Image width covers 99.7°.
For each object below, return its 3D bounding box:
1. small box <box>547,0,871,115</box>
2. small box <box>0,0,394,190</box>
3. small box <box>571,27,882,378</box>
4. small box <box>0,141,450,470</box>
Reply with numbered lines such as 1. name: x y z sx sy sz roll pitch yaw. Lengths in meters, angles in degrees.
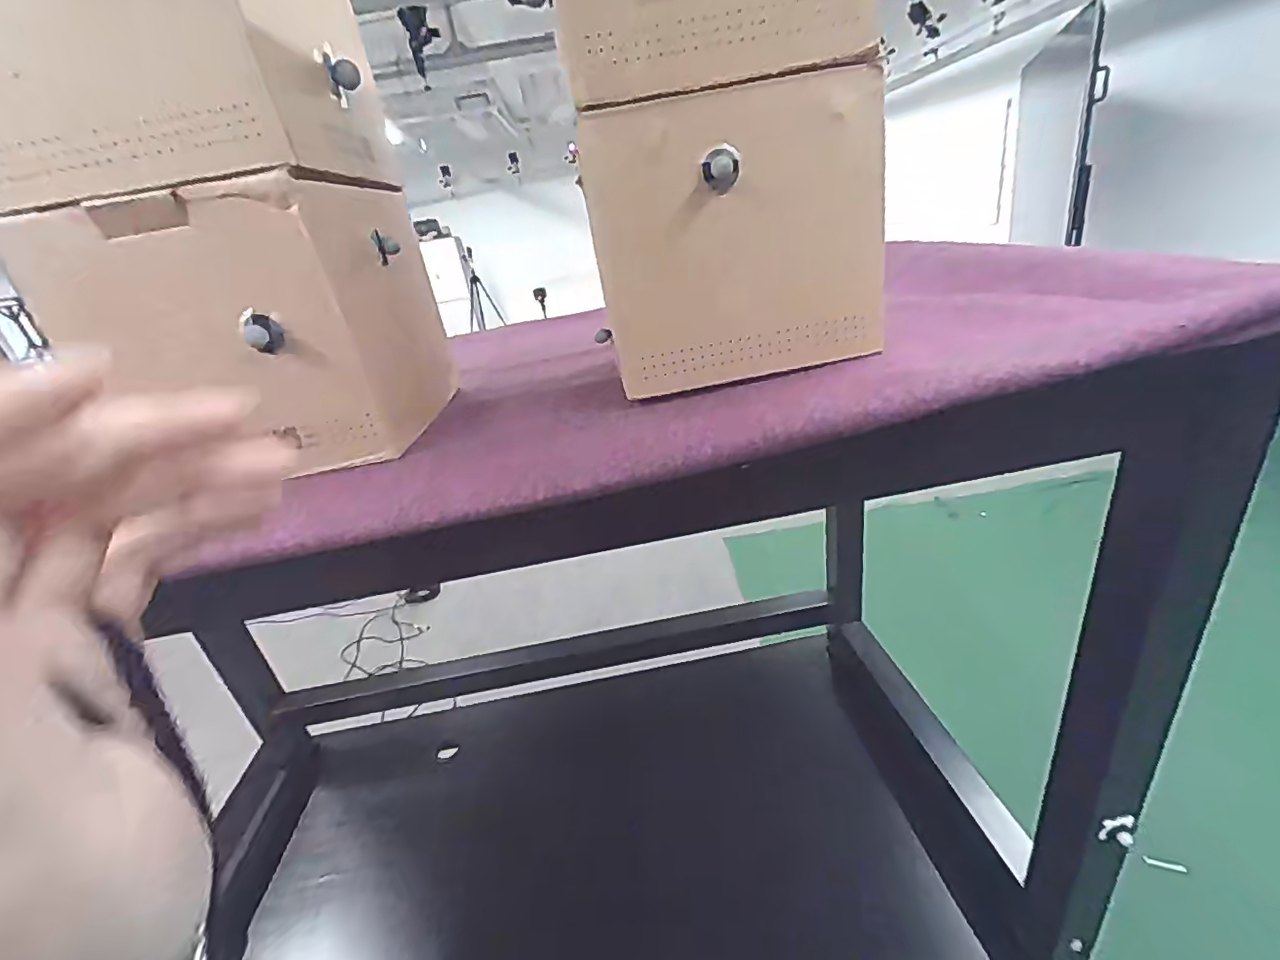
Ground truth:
1. small box: 0.026 -0.328 0.332 0.179 0.176 0.168 -11 23 -1
2. small box: -0.276 -0.262 0.308 0.179 0.176 0.168 -9 26 0
3. small box: 0.055 -0.179 0.391 0.179 0.176 0.168 -11 23 -2
4. small box: -0.250 -0.114 0.377 0.168 0.176 0.179 -9 24 0
